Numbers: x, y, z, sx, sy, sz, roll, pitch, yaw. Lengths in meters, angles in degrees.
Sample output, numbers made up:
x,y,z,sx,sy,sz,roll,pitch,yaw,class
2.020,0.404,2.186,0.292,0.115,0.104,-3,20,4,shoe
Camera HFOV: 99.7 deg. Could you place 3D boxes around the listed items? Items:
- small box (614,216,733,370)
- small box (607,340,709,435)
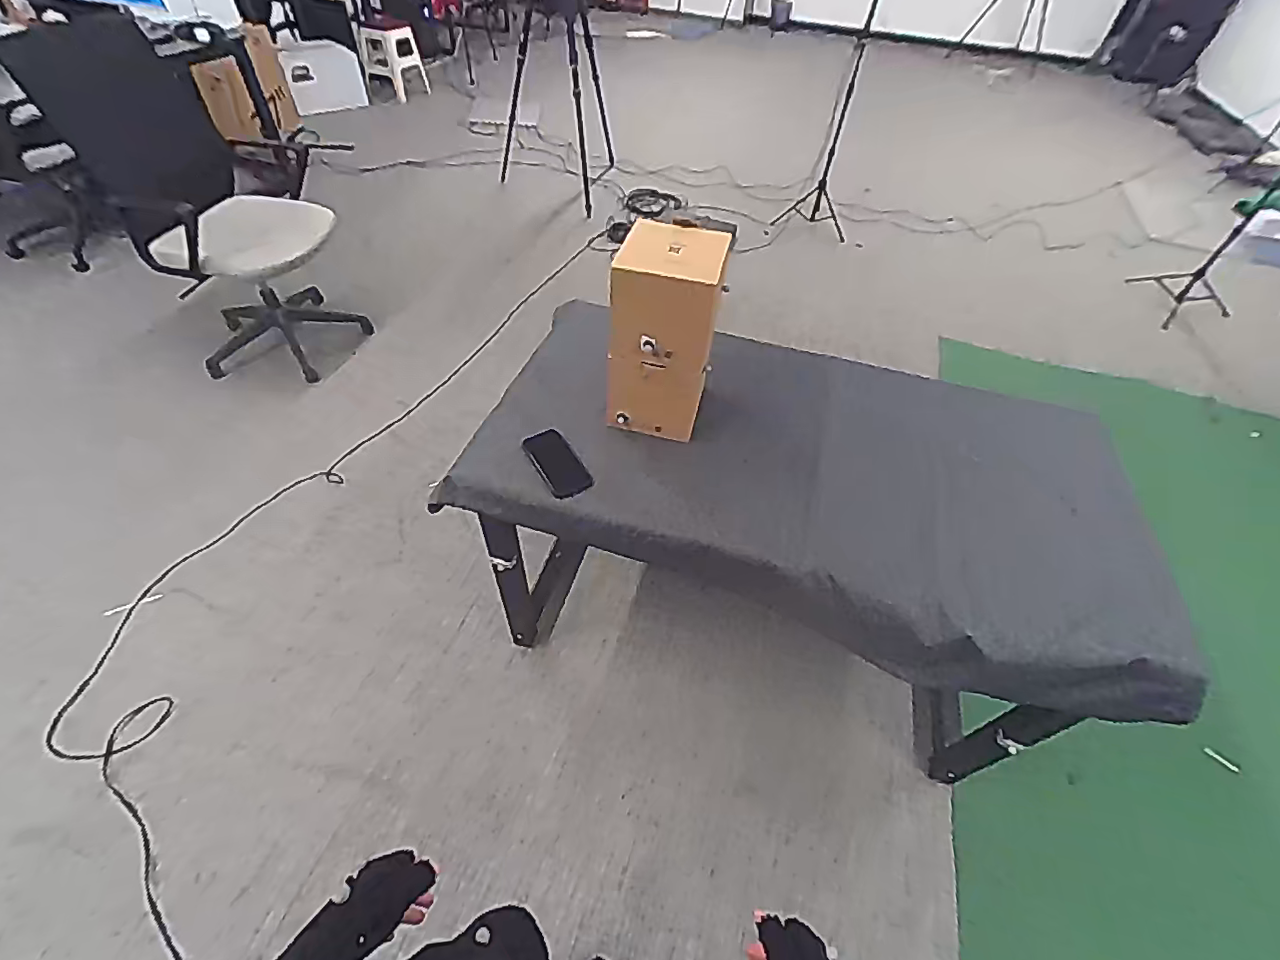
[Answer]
x,y,z,sx,sy,sz,roll,pitch,yaw,class
0.052,-0.316,0.918,0.168,0.176,0.179,12,51,6,small box
0.038,-0.212,1.041,0.168,0.176,0.179,13,49,6,small box
